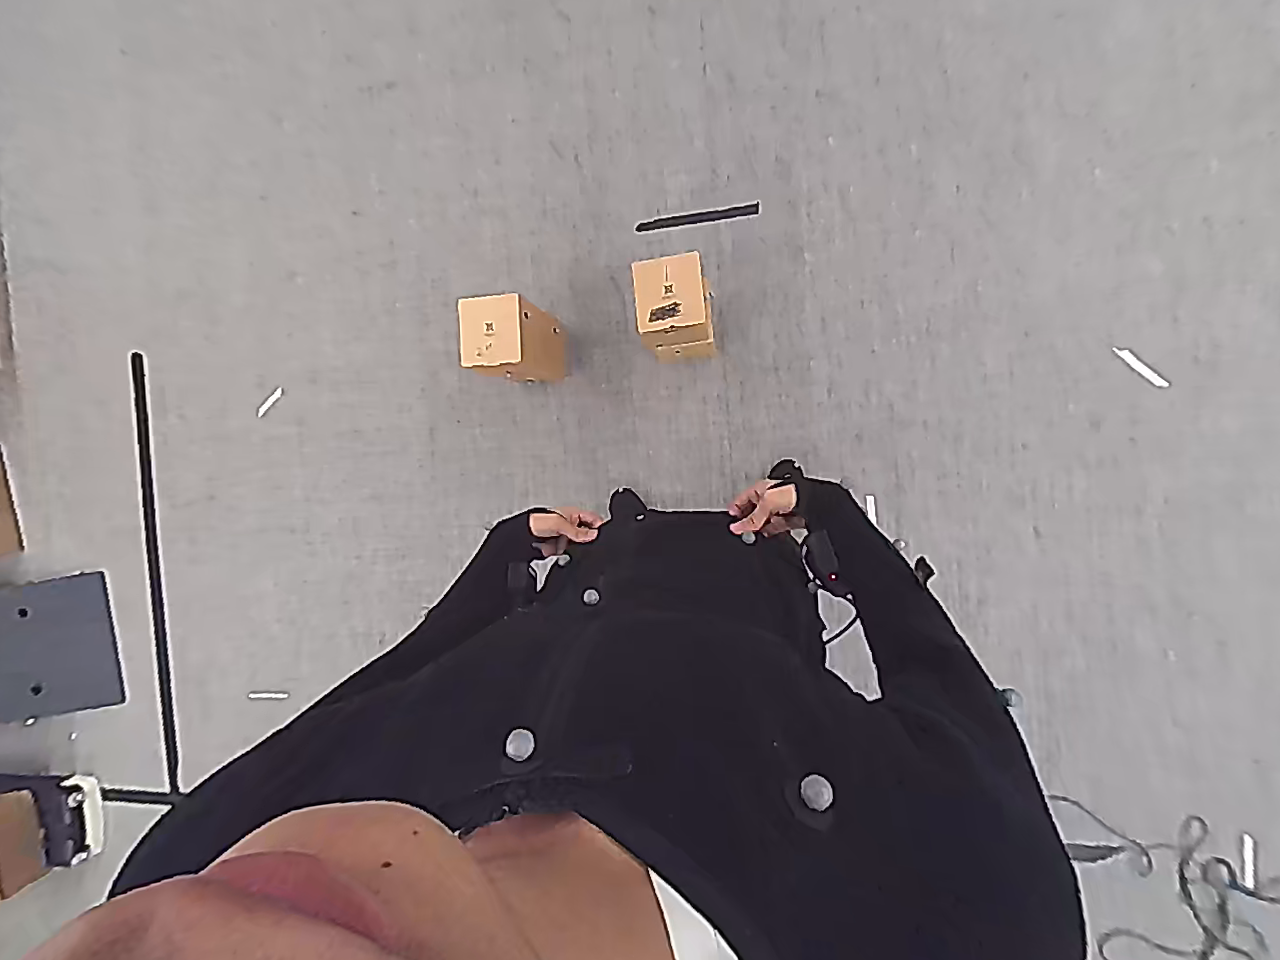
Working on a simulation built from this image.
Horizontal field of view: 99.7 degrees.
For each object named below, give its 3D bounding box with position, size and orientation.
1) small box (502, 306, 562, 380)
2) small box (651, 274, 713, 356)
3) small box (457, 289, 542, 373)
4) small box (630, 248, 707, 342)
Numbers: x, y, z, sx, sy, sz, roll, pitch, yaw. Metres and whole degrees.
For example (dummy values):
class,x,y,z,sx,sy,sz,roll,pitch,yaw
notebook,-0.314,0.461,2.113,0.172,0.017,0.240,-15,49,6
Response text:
class,x,y,z,sx,sy,sz,roll,pitch,yaw
small box,-0.332,-0.398,1.591,0.168,0.176,0.179,-1,92,10
small box,0.115,-0.452,1.517,0.168,0.176,0.179,-6,90,9
small box,-0.367,-0.388,1.430,0.168,0.176,0.179,-2,92,10
small box,0.077,-0.452,1.357,0.168,0.176,0.179,-6,90,9
